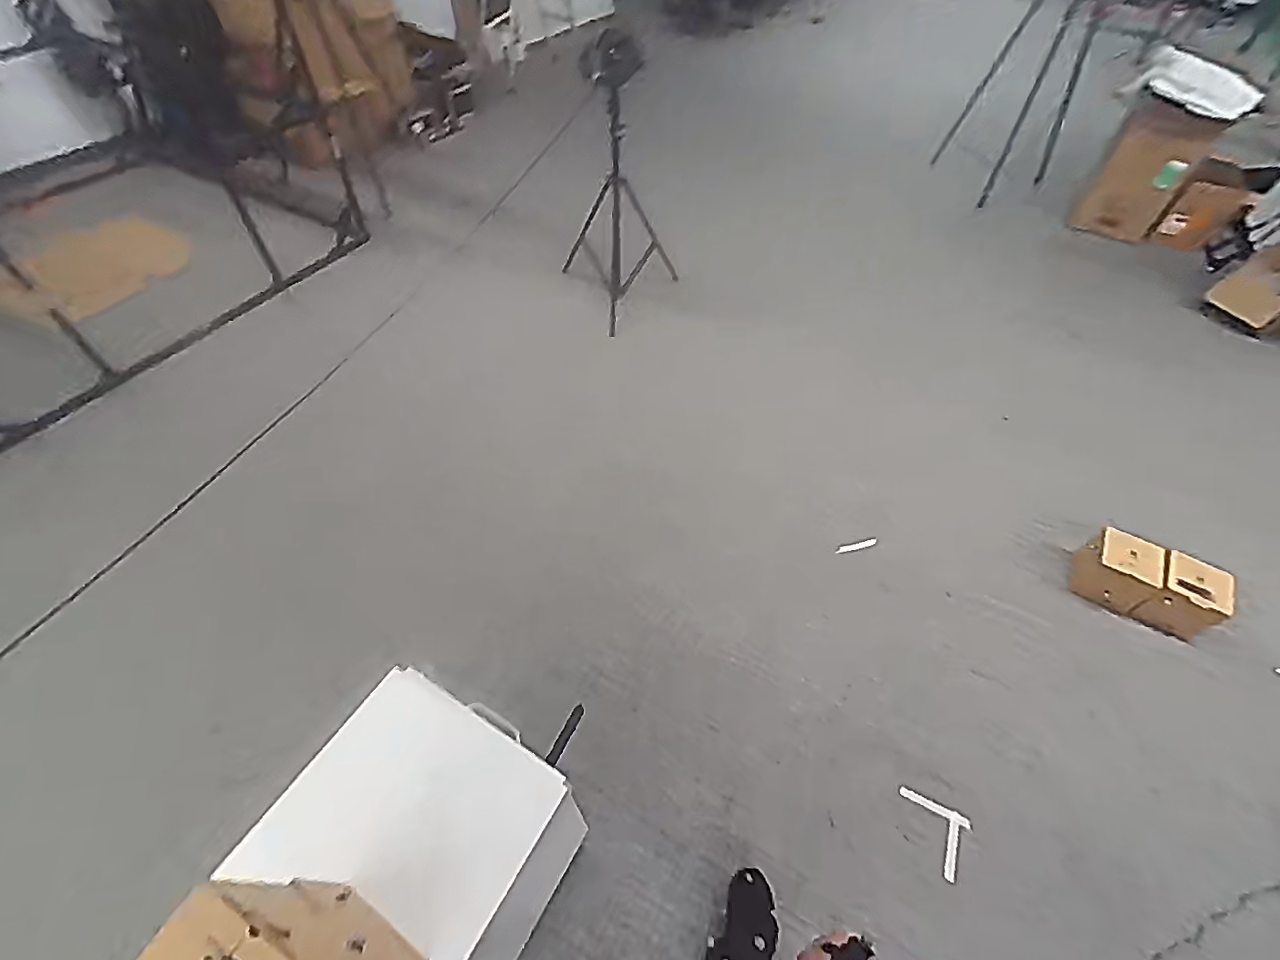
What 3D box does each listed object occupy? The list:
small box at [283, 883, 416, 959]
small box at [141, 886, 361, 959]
[{"bbox_3d":[-0.404,0.643,0.665,0.179,0.176,0.168,26,55,19],"label":"small box"},{"bbox_3d":[-0.405,0.544,0.534,0.168,0.176,0.179,22,55,17],"label":"small box"}]
